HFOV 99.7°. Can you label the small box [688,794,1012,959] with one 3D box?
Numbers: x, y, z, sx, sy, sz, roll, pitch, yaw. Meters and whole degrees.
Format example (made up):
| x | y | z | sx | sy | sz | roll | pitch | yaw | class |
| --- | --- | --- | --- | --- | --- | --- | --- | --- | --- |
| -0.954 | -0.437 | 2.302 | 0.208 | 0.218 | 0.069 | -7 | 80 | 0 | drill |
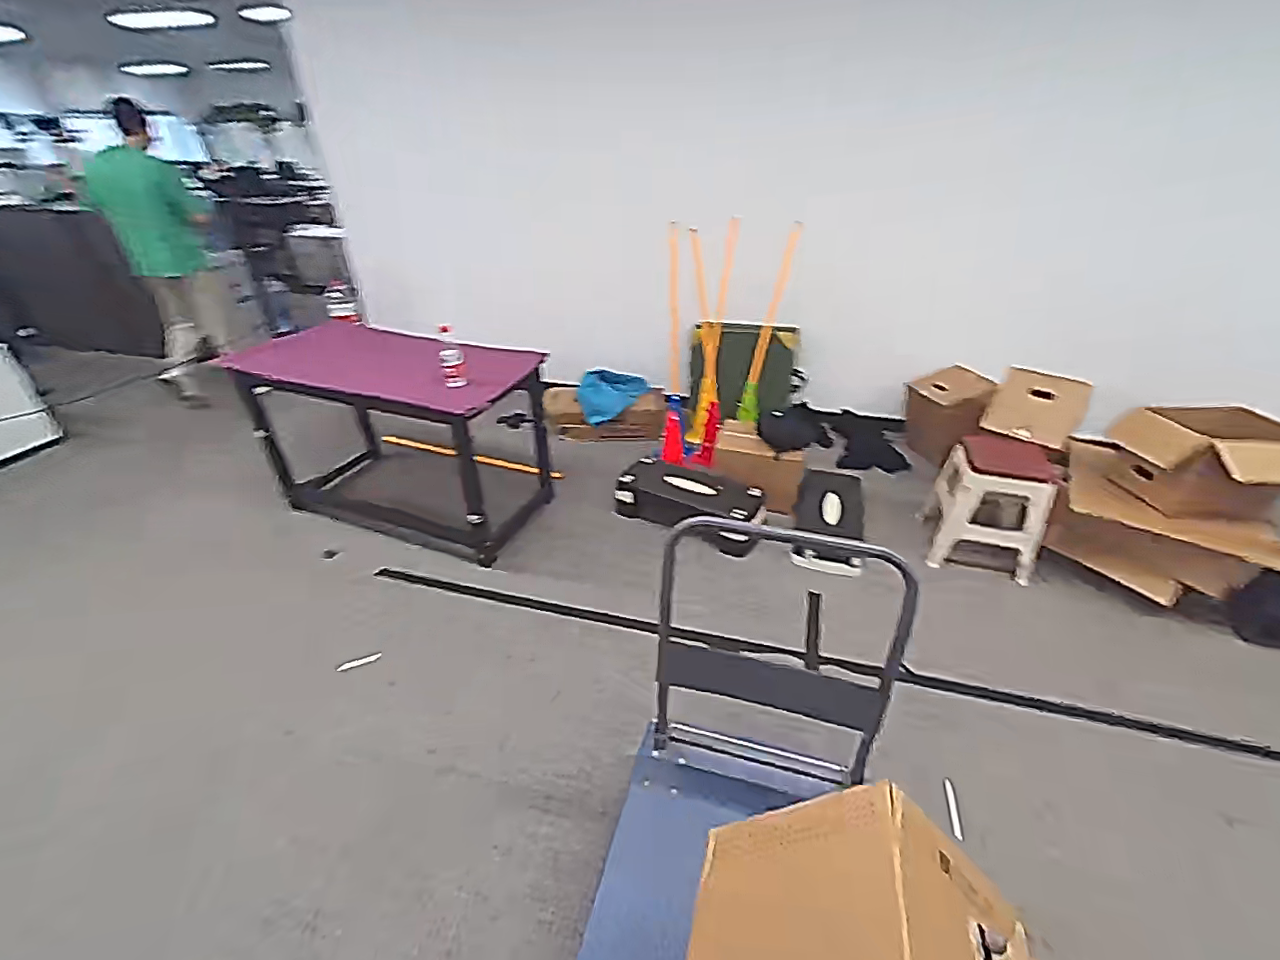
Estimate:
| x | y | z | sx | sy | sz | roll | pitch | yaw | class |
| --- | --- | --- | --- | --- | --- | --- | --- | --- | --- |
| 0.146 | 0.356 | 0.369 | 0.168 | 0.179 | 0.176 | 46 | 30 | -9 | small box |
